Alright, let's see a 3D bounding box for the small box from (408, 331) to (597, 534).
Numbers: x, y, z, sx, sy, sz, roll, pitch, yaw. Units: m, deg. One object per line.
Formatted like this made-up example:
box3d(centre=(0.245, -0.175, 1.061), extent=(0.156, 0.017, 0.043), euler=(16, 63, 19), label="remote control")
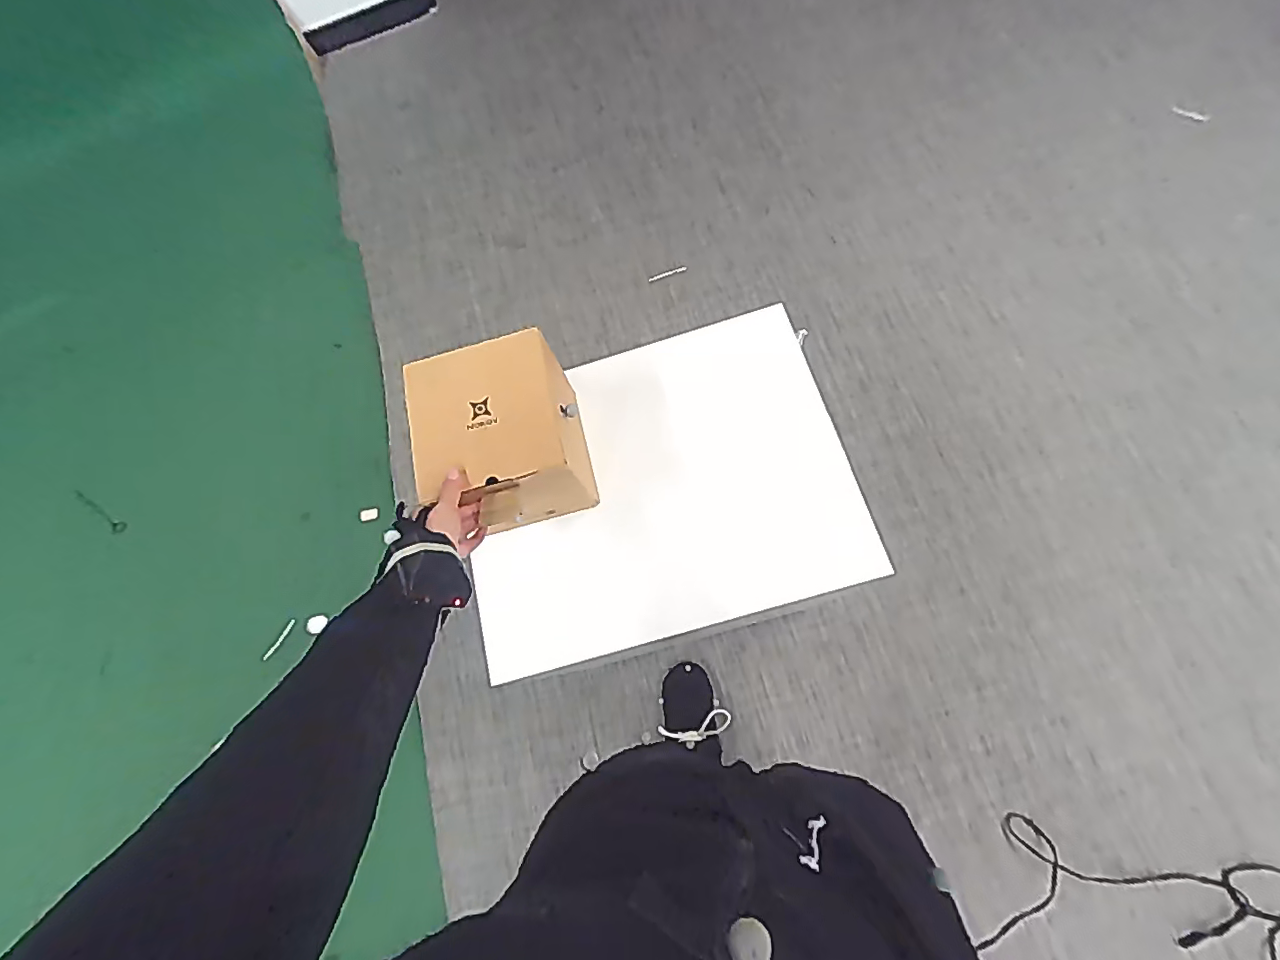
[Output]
box3d(centre=(-0.161, -0.048, 0.668), extent=(0.168, 0.176, 0.179), euler=(-15, 72, 2), label="small box")
